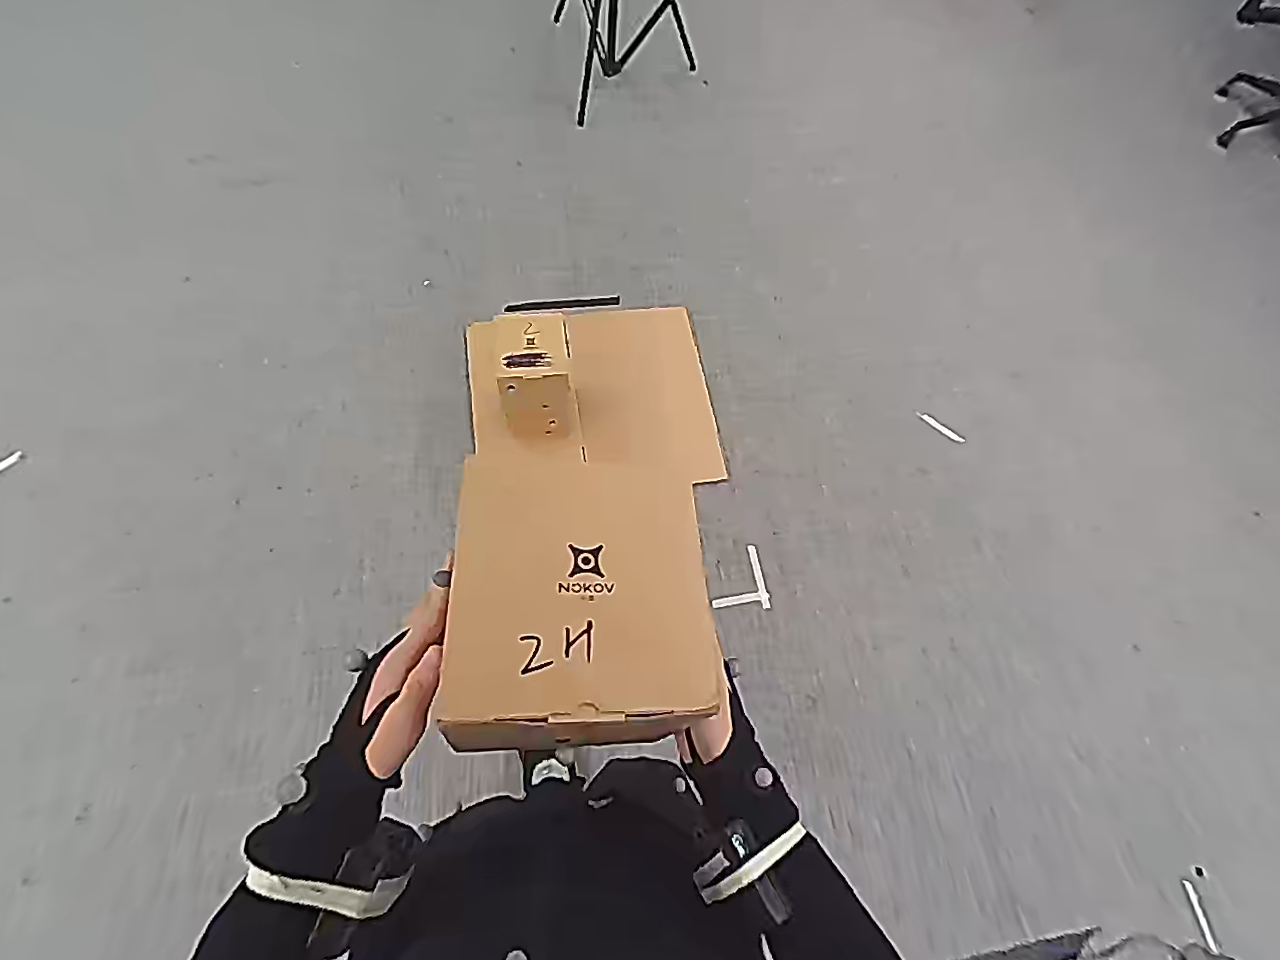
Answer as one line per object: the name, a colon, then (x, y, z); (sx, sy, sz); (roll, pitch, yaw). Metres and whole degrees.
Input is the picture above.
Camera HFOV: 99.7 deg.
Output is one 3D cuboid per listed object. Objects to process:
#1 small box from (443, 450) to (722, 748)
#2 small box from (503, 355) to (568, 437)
small box: (-0.052, 0.099, 0.420); (0.168, 0.176, 0.179); (3, 58, -13)
small box: (-0.286, -0.226, 1.495); (0.168, 0.176, 0.179); (-3, 69, -9)
